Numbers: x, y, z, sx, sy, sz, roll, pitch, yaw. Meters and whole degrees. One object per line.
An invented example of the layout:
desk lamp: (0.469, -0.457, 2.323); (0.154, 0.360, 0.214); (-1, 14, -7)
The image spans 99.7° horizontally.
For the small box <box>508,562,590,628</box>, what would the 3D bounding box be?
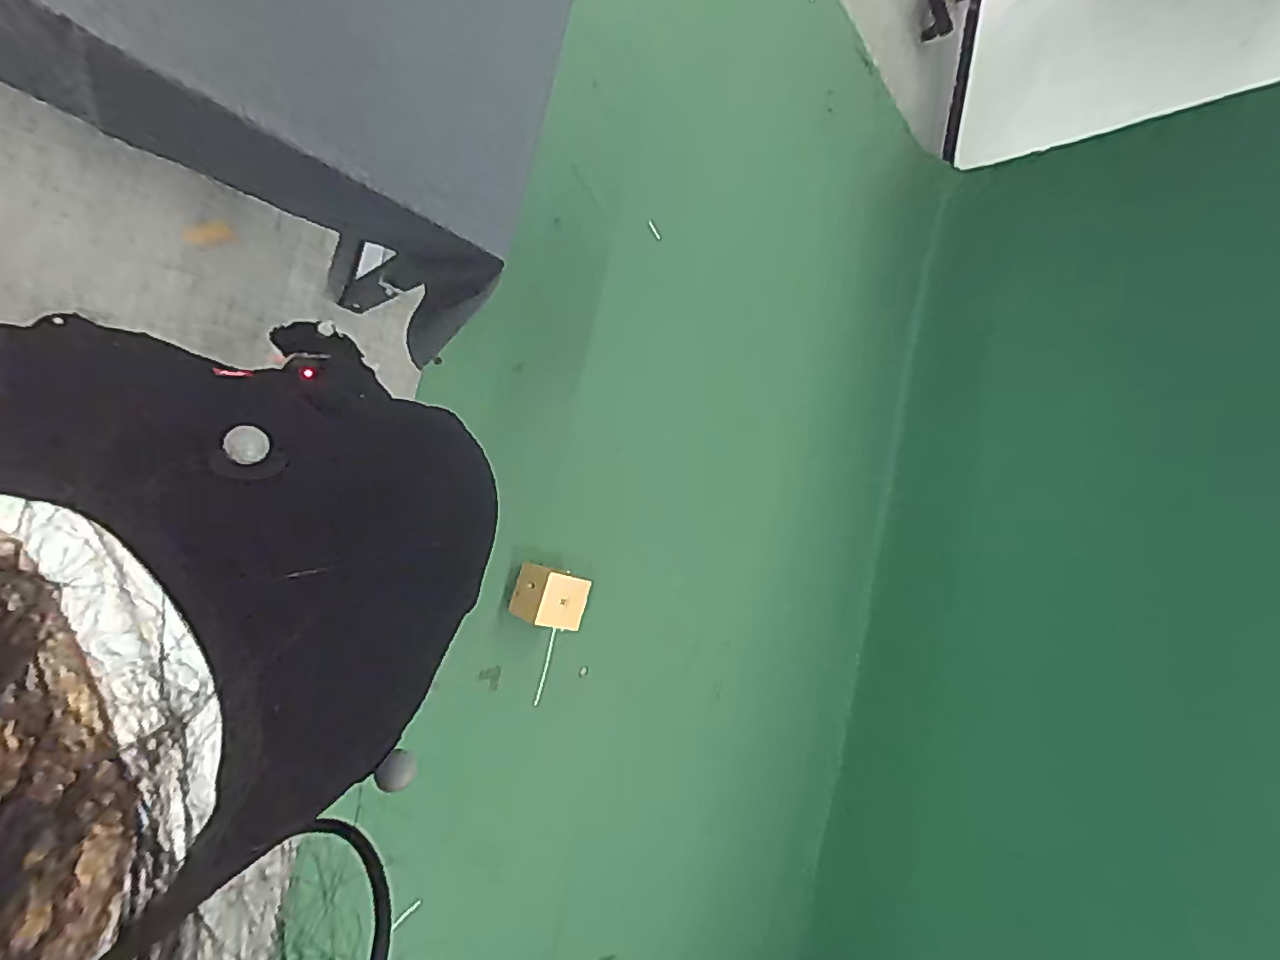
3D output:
small box: (-0.296, 0.368, 1.745); (0.179, 0.176, 0.168); (24, 78, -43)
